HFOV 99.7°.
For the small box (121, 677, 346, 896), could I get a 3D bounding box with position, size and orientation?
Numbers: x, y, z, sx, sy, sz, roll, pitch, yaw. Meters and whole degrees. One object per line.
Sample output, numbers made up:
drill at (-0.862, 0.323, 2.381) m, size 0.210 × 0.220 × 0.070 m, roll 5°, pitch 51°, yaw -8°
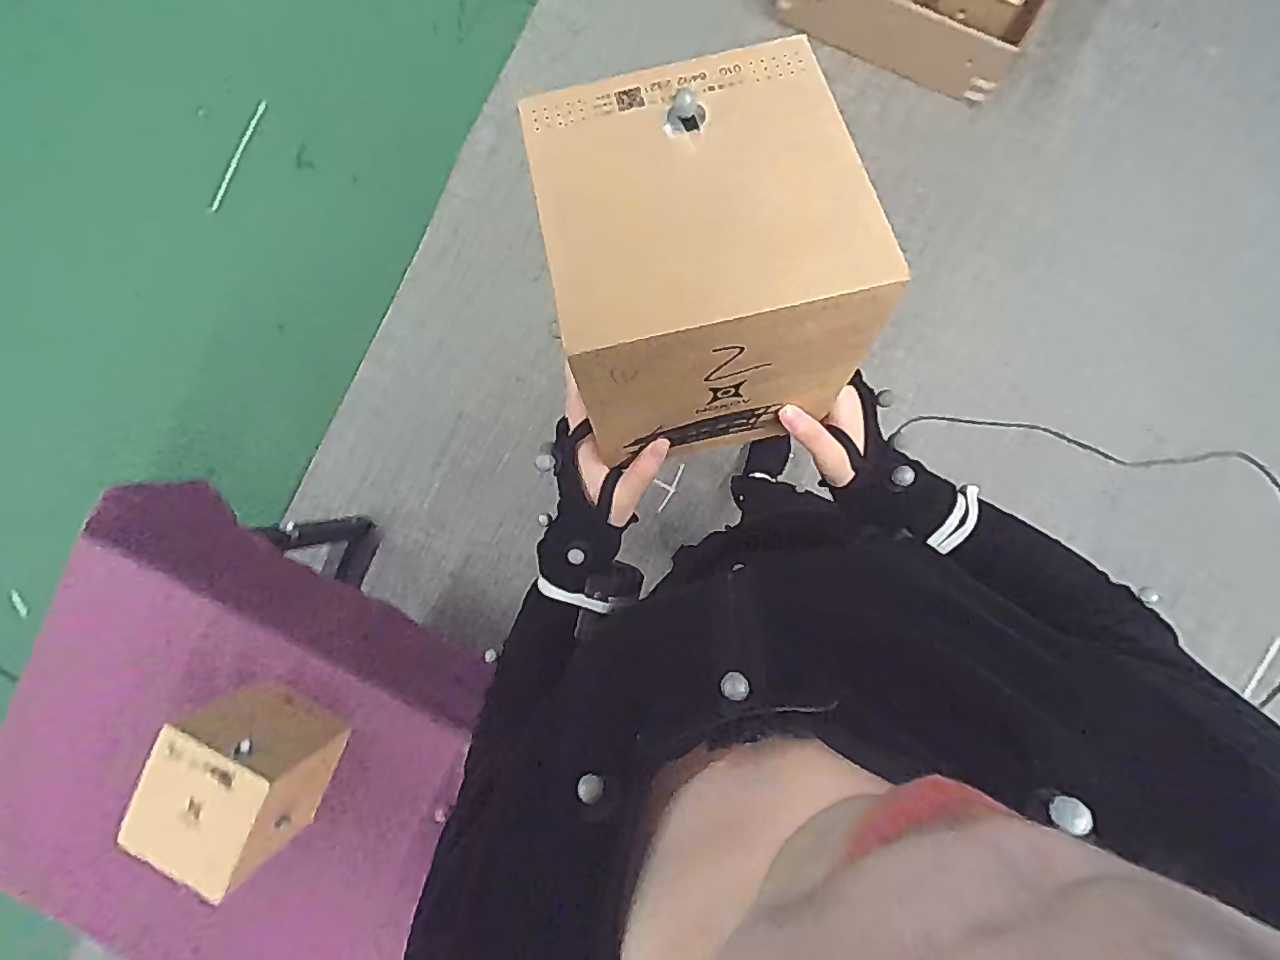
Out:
small box at (-0.562, 0.420, 0.772) m, size 0.168 × 0.176 × 0.179 m, roll 25°, pitch 94°, yaw 4°
